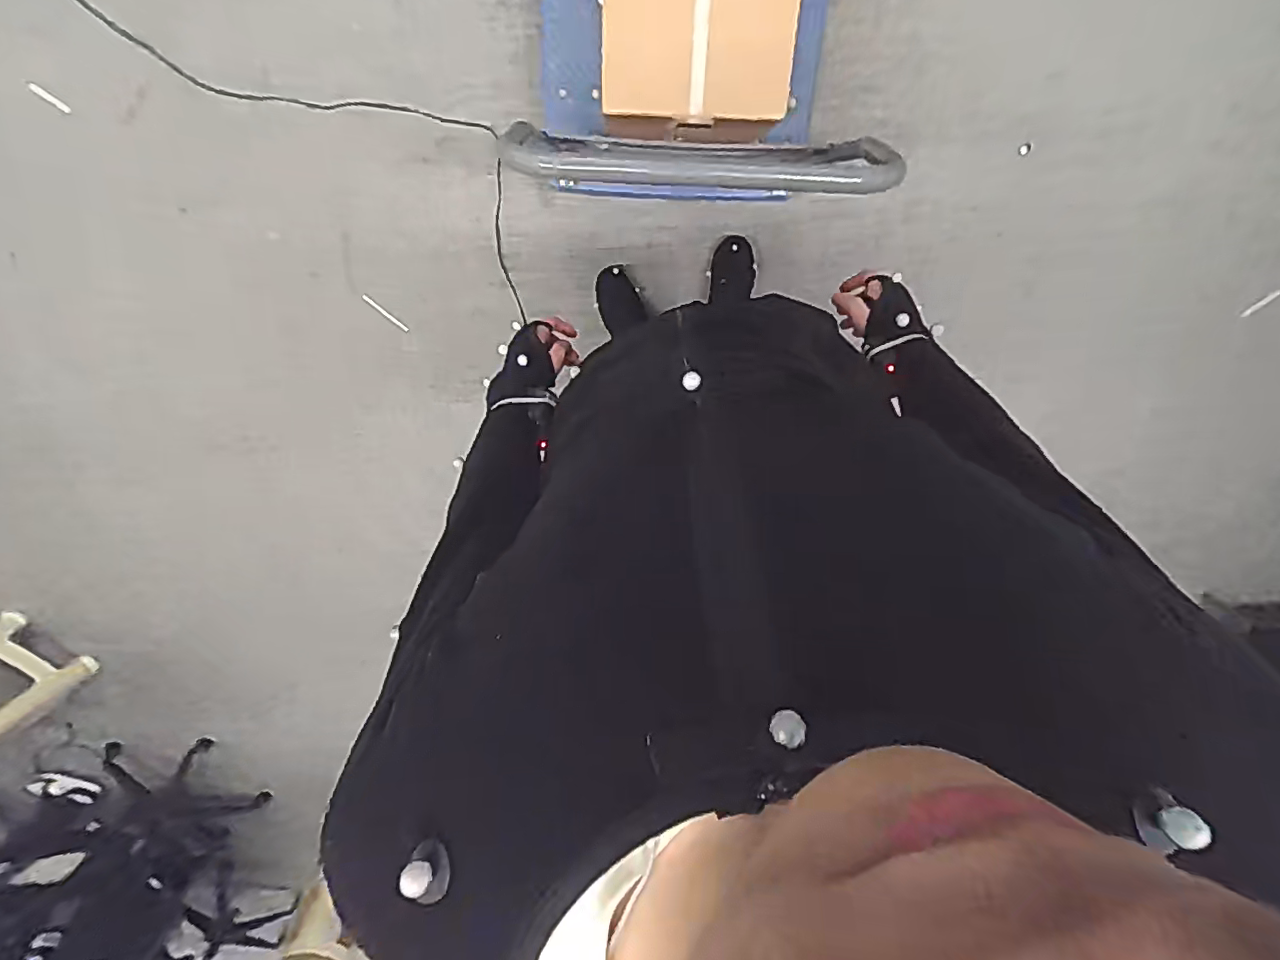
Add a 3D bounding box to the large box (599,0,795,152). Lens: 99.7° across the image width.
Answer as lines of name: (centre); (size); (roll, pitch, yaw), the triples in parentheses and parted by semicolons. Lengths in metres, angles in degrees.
large box: (0.095, -0.848, 0.979); (0.320, 0.320, 0.408); (2, 113, -1)
